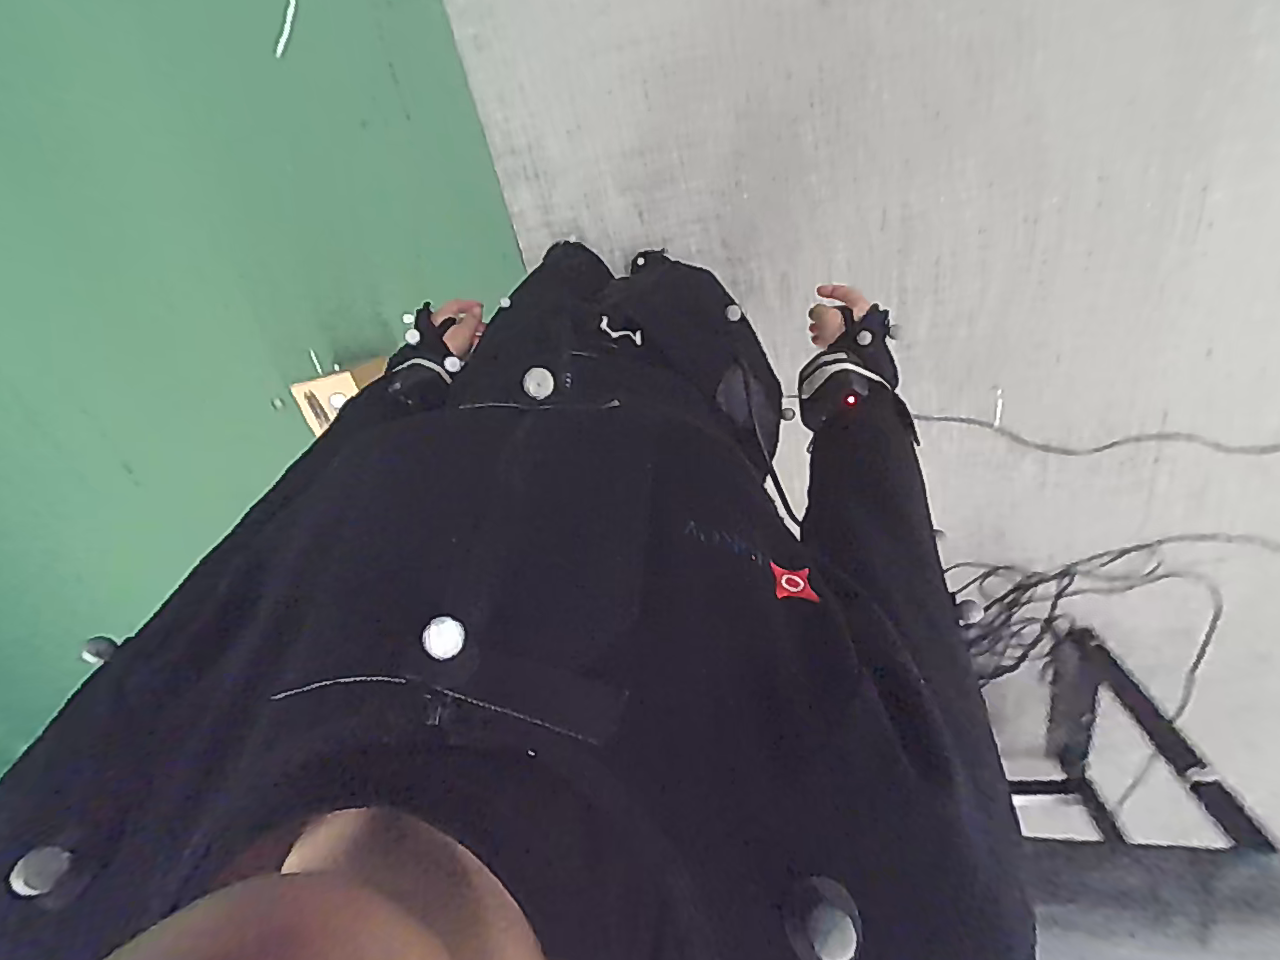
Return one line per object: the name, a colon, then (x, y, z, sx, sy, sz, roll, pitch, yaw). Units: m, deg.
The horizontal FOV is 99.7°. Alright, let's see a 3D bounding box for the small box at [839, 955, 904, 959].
small box: (0.471, 1.024, 0.997, 0.168, 0.176, 0.179, -9, 115, 12)
